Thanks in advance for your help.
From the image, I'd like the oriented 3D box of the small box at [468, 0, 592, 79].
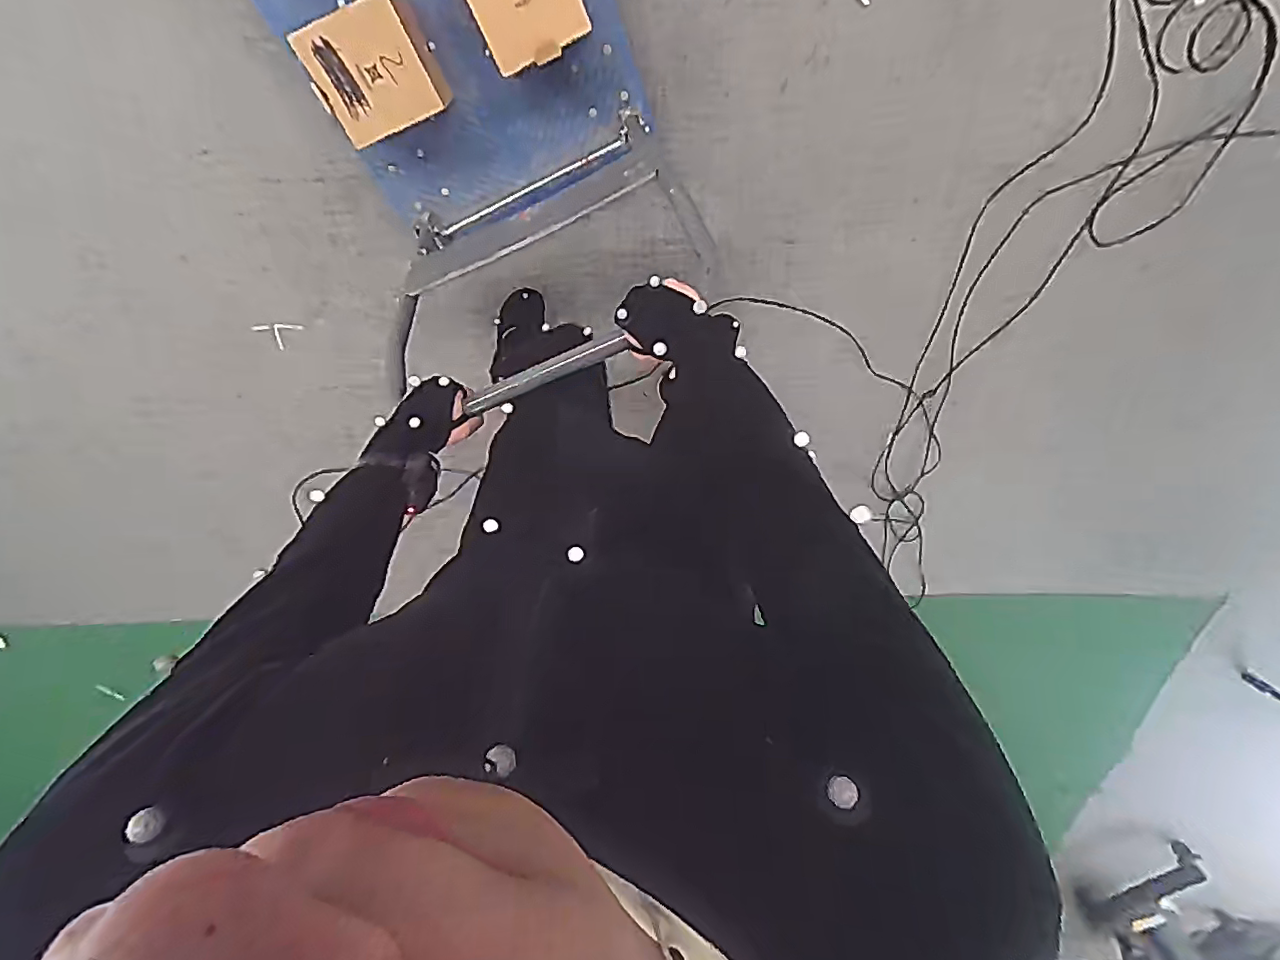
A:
[{"bbox_3d":[-0.195,-0.805,0.890,0.168,0.176,0.179,-22,133,9],"label":"small box"}]
